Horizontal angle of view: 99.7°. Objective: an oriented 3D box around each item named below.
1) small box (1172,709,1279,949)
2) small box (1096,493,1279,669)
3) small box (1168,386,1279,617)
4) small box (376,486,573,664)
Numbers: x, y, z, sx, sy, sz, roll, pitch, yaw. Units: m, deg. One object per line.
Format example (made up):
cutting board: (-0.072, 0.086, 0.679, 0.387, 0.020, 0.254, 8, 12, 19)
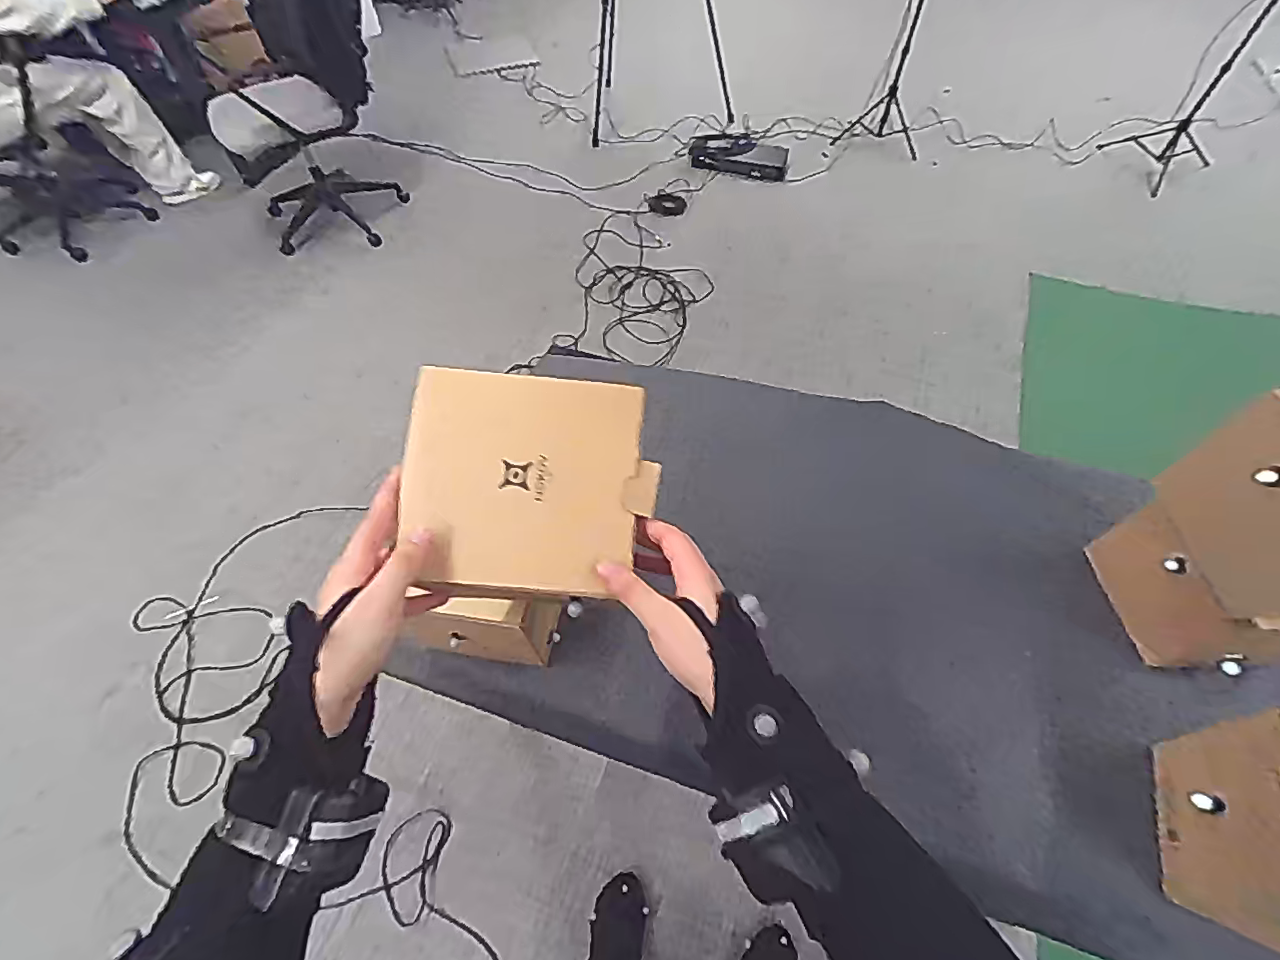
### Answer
small box: (0.655, 0.352, 0.507, 0.179, 0.176, 0.168, 21, 55, 16)
small box: (0.727, 0.121, 0.666, 0.168, 0.176, 0.179, -3, 57, 3)
small box: (0.698, 0.024, 0.535, 0.168, 0.176, 0.179, -1, 56, 6)
small box: (-0.193, 0.128, 0.698, 0.179, 0.176, 0.168, 6, 57, 7)
